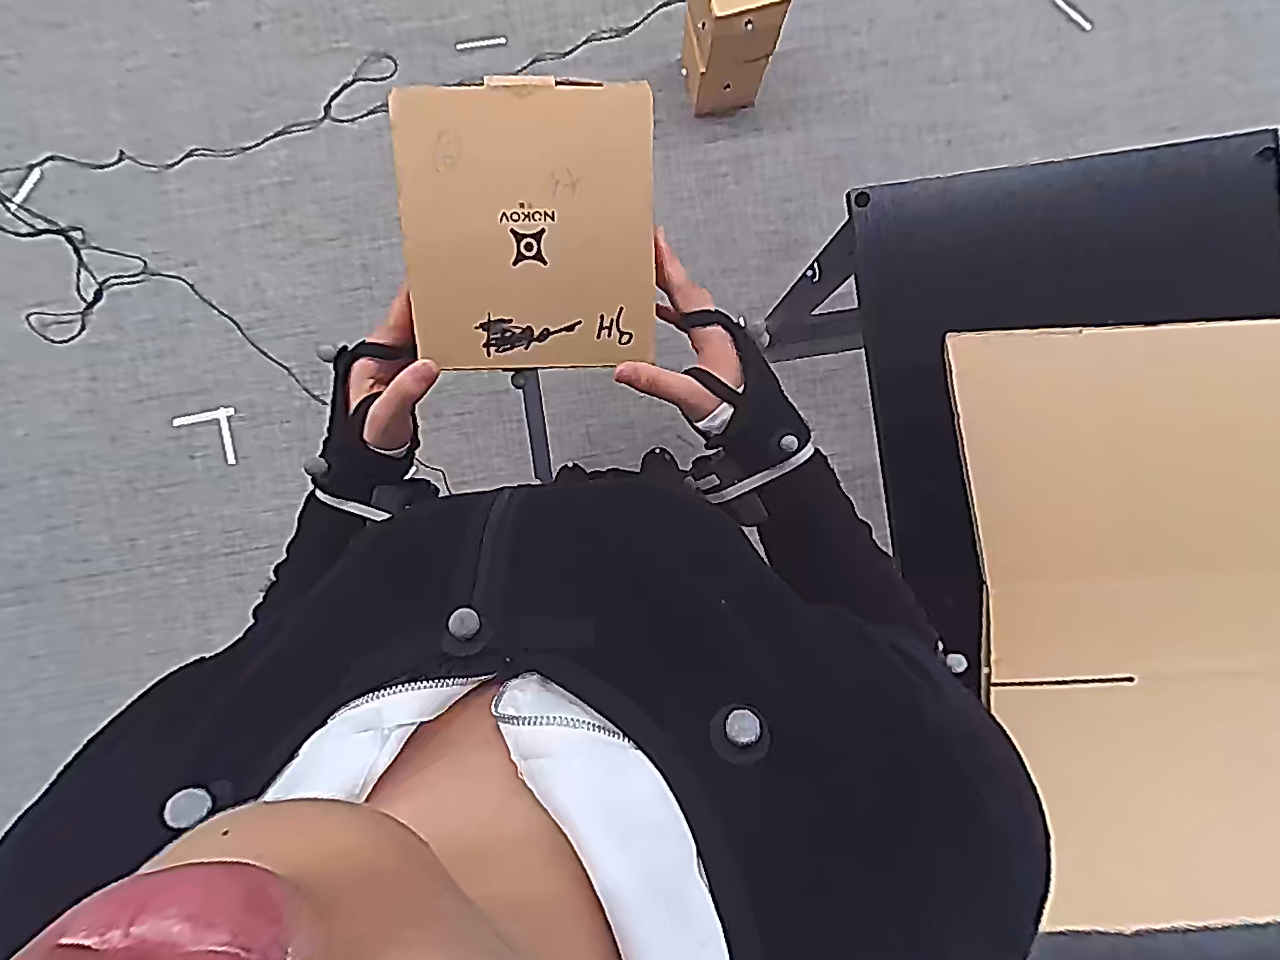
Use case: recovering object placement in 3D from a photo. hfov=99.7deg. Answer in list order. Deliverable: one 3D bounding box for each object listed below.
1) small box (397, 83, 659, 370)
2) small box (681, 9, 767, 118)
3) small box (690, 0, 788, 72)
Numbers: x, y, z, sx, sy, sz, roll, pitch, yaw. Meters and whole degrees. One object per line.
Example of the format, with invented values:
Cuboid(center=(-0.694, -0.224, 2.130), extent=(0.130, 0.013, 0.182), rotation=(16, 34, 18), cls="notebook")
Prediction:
Cuboid(center=(-0.072, -0.179, 0.433), extent=(0.168, 0.176, 0.179), rotation=(-1, 103, -1), cls="small box")
Cuboid(center=(0.211, -1.082, 1.397), extent=(0.179, 0.176, 0.168), rotation=(-12, 91, 1), cls="small box")
Cuboid(center=(0.217, -1.082, 1.235), extent=(0.179, 0.176, 0.168), rotation=(-15, 92, -1), cls="small box")
